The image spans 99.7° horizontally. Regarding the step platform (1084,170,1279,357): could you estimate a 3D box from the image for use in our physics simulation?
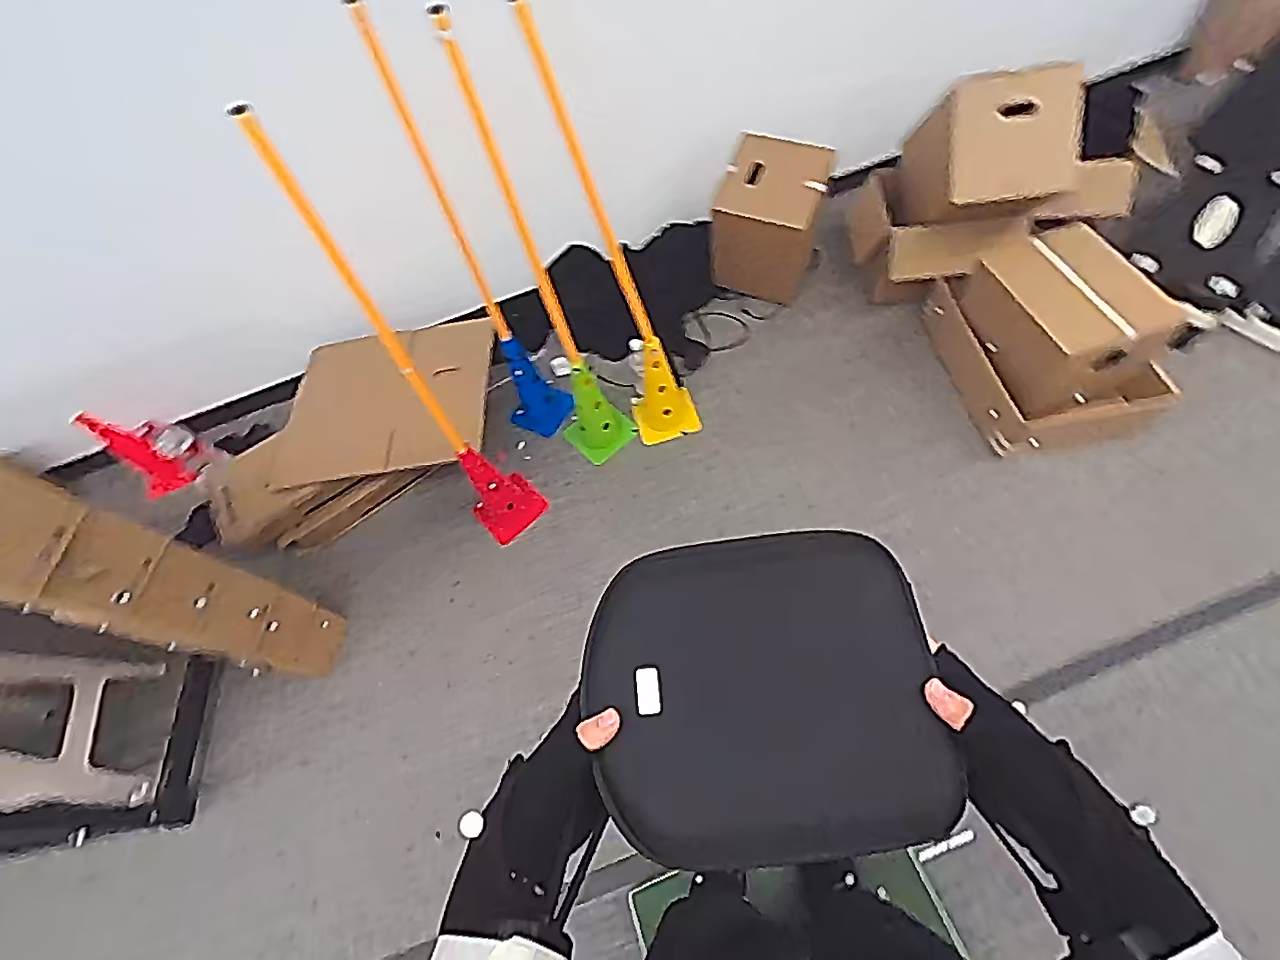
[{"bbox_3d":[1.749,-0.711,1.735,0.286,0.204,0.684,35,72,26],"label":"step platform"}]
